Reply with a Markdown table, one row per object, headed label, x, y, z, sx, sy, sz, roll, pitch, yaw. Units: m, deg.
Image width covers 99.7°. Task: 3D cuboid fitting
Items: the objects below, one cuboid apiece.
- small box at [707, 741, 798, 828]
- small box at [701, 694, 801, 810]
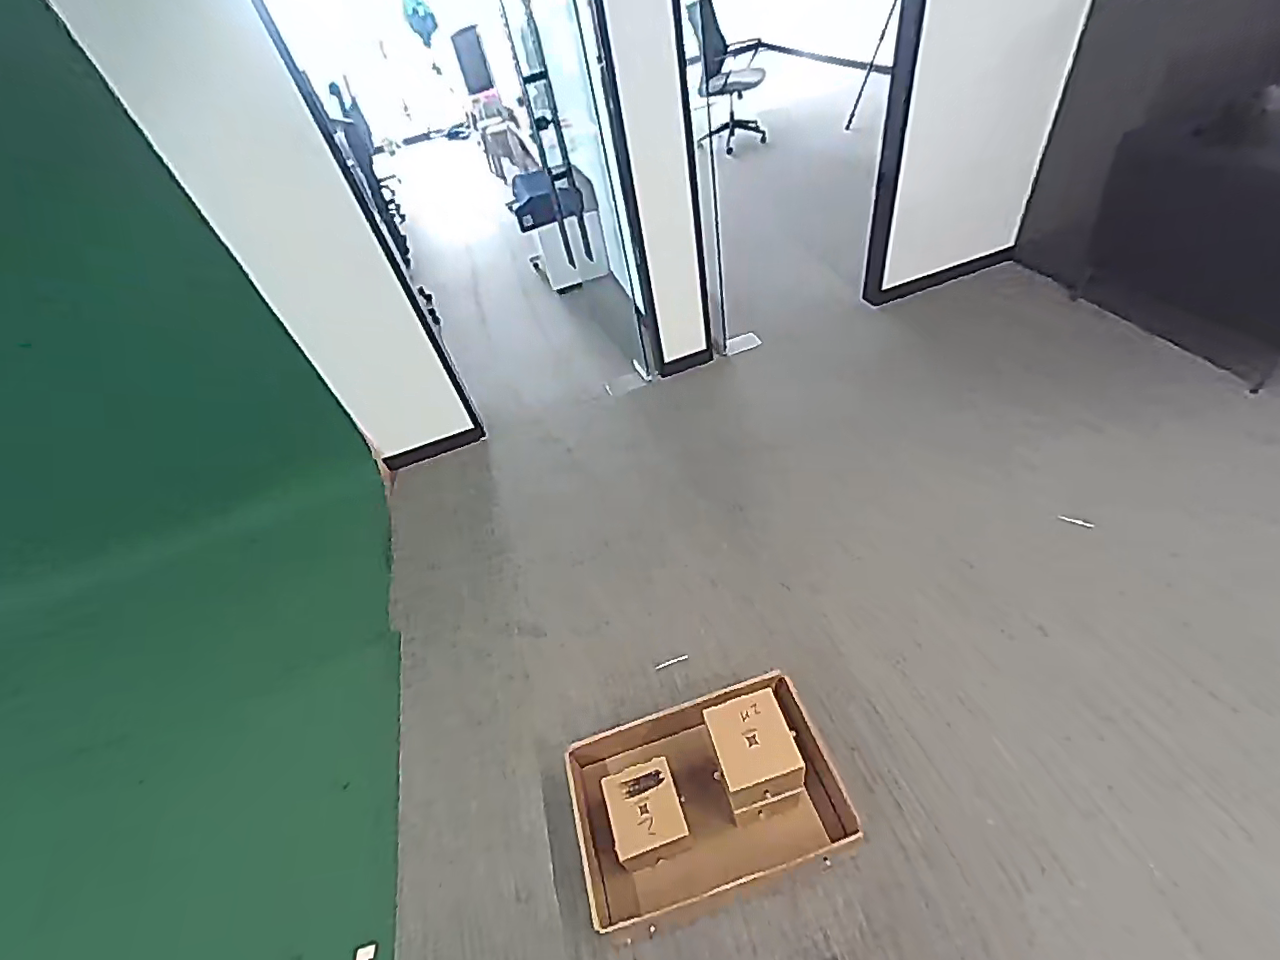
| label | x | y | z | sx | sy | sz | roll | pitch | yaw |
| --- | --- | --- | --- | --- | --- | --- | --- | --- | --- |
| small box | 0.276 | 0.731 | 1.329 | 0.168 | 0.176 | 0.179 | -17 | 45 | -3 |
| small box | 0.249 | 0.616 | 1.213 | 0.168 | 0.176 | 0.179 | -17 | 45 | -2 |
